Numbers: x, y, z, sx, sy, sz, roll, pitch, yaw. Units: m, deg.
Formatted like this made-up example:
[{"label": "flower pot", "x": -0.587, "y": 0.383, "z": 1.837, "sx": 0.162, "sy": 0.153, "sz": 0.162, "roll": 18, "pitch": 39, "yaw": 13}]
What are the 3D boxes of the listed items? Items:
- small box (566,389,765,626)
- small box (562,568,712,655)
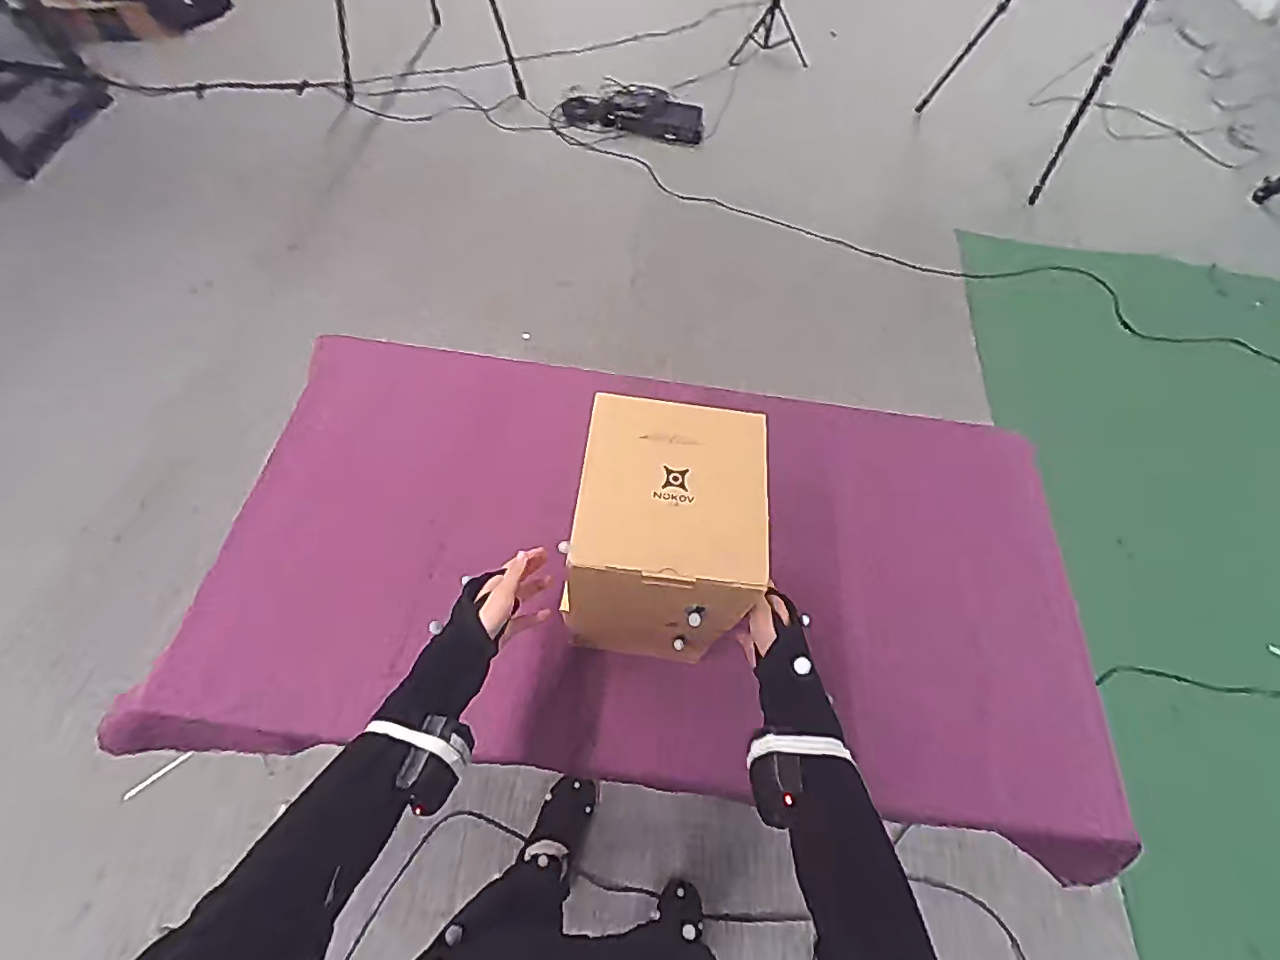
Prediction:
[{"label": "small box", "x": 0.023, "y": 0.037, "z": 0.547, "sx": 0.168, "sy": 0.176, "sz": 0.179, "roll": 8, "pitch": 60, "yaw": -2}, {"label": "small box", "x": 0.005, "y": 0.115, "z": 0.688, "sx": 0.179, "sy": 0.176, "sz": 0.168, "roll": 8, "pitch": 60, "yaw": 0}]
